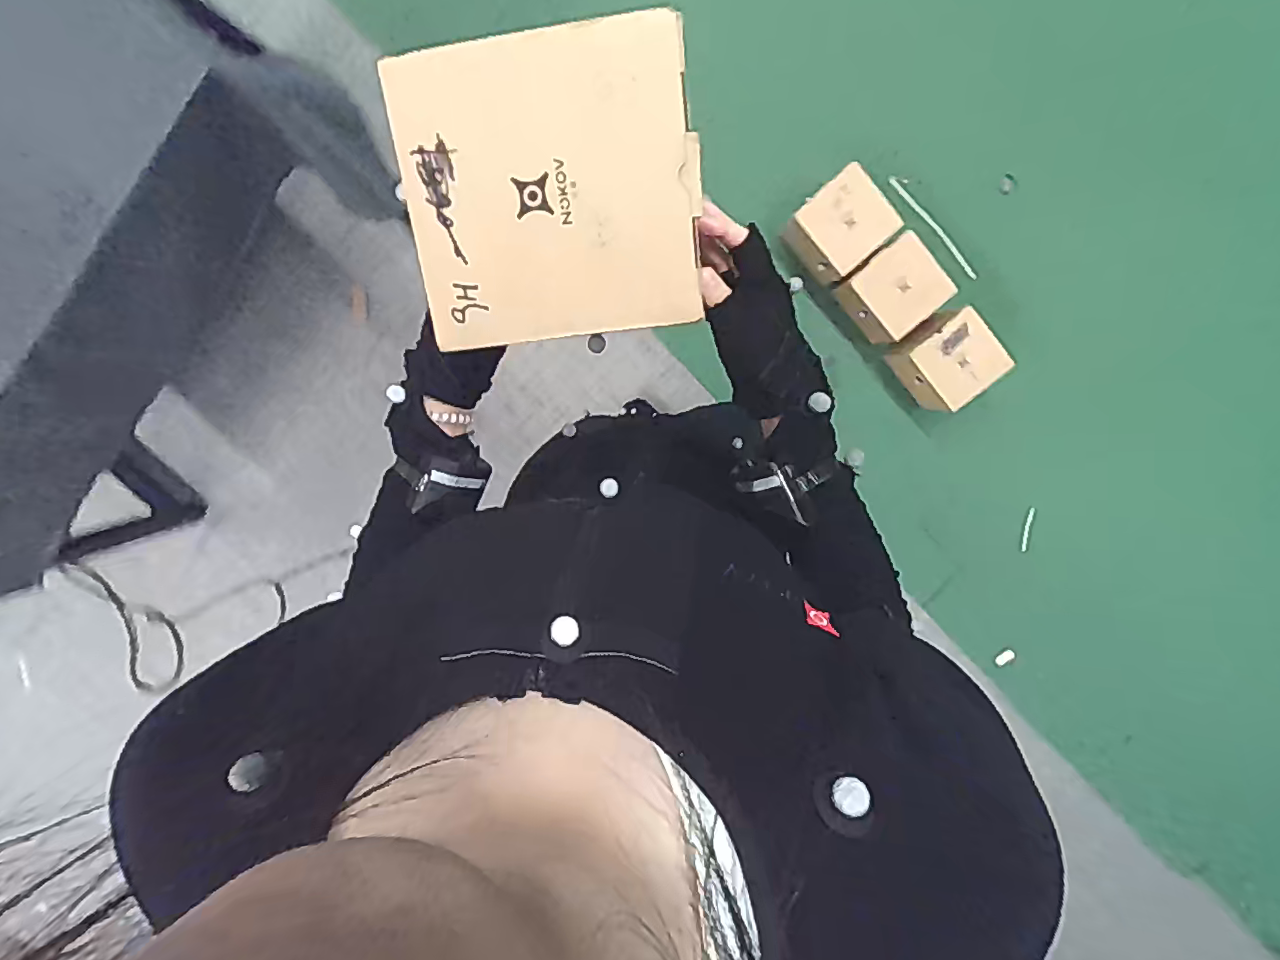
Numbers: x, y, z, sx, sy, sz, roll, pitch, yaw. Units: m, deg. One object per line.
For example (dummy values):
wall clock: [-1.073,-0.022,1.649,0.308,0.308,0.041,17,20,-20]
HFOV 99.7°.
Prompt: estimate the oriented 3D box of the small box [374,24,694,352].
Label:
small box: [-0.058,-0.192,0.405,0.179,0.176,0.168,-6,105,4]
